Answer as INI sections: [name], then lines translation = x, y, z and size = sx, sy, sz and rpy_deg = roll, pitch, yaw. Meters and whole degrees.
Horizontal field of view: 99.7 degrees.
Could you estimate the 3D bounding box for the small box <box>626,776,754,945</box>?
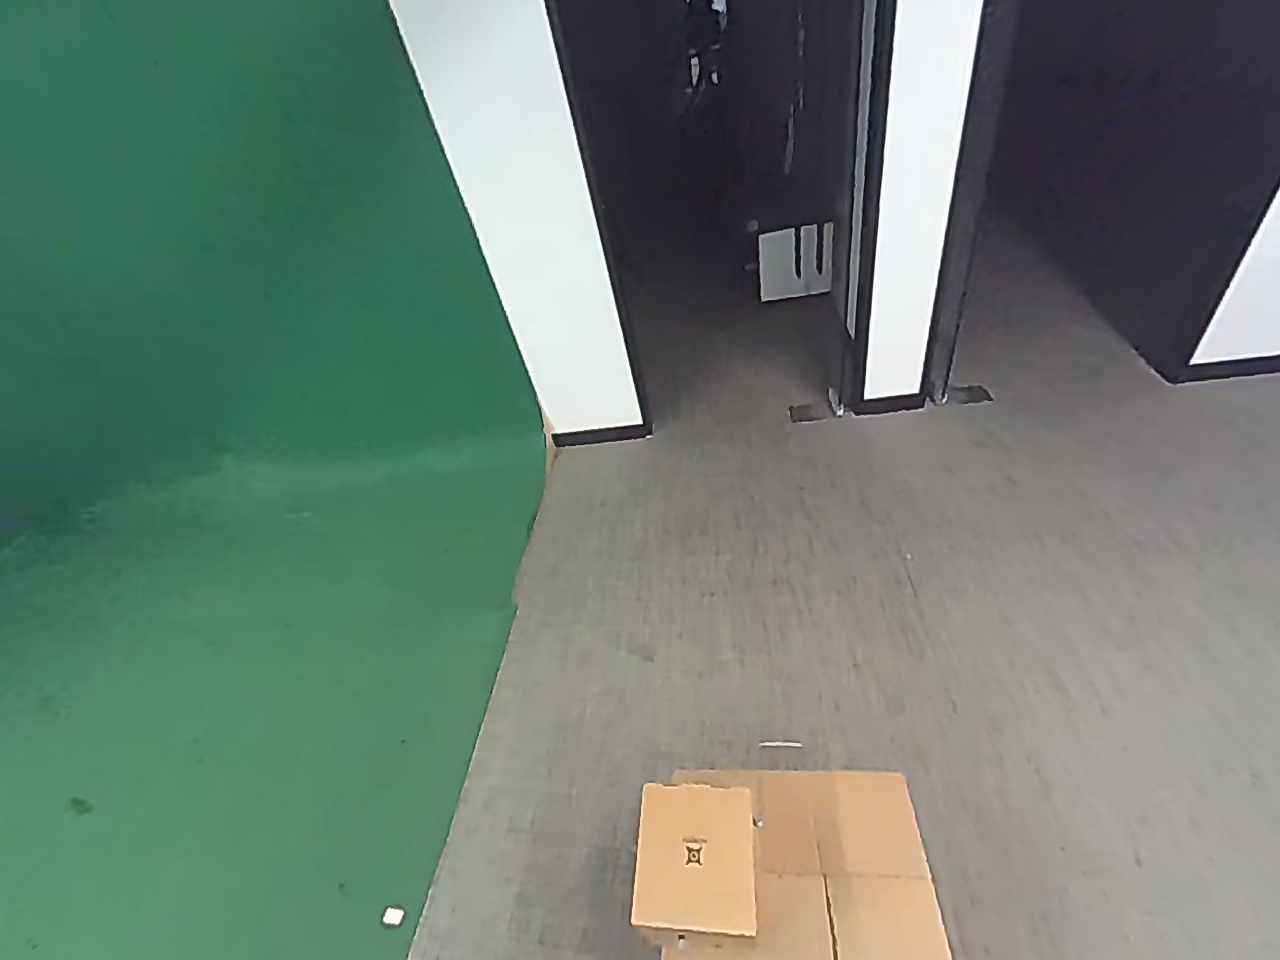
[small box]
translation = 0.084, 0.575, 0.818
size = 0.168, 0.176, 0.179
rpy_deg = -3, 42, 11
